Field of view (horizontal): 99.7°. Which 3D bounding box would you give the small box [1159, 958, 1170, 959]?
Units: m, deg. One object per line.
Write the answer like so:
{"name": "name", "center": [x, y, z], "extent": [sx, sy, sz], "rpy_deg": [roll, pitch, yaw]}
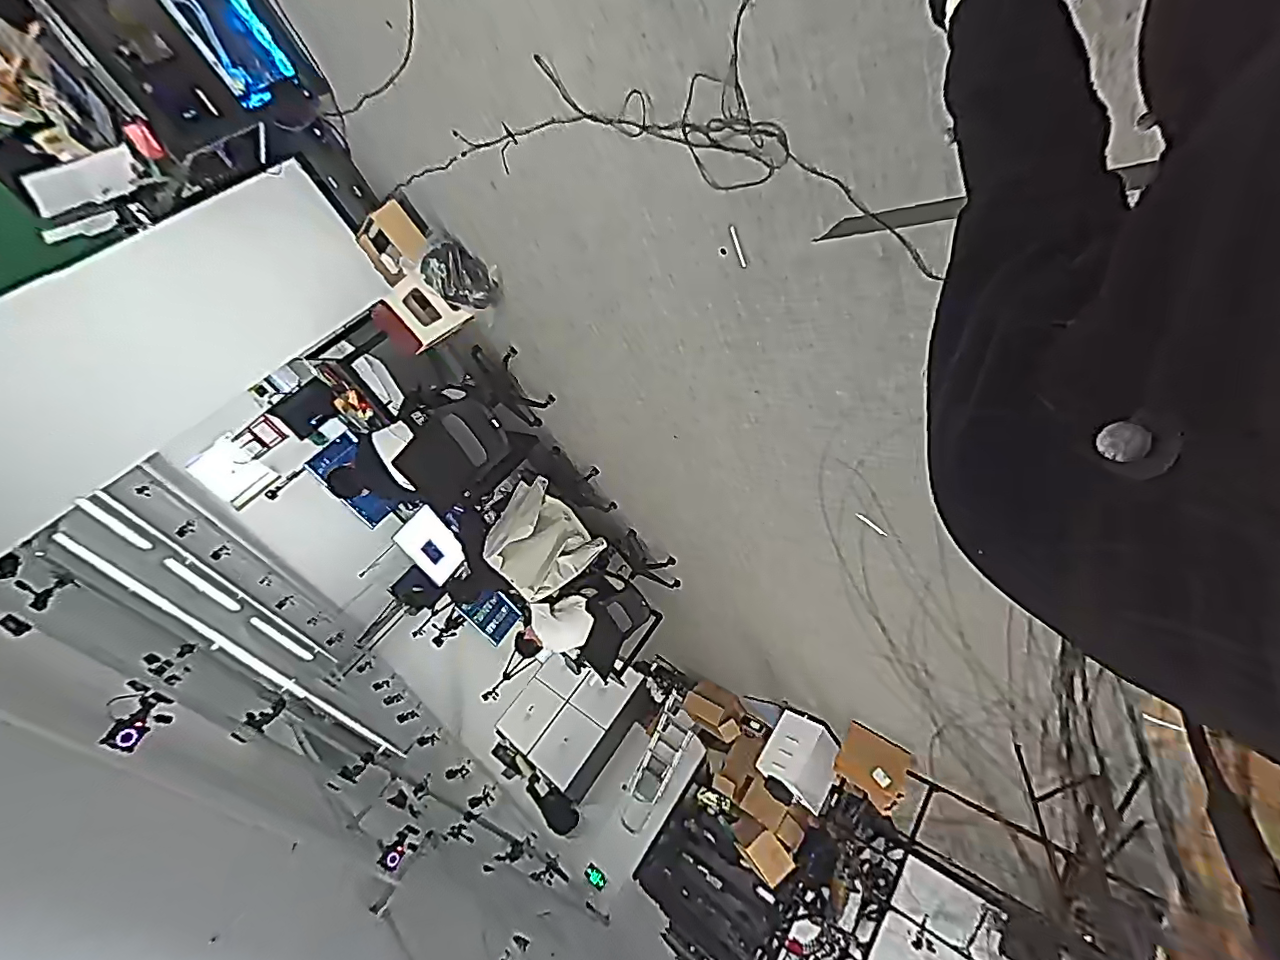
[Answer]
{"name": "small box", "center": [1.305, 1.272, 1.264], "extent": [0.168, 0.176, 0.179], "rpy_deg": [15, 145, 42]}

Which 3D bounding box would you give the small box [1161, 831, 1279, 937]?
{"name": "small box", "center": [1.498, 1.047, 1.400], "extent": [0.179, 0.176, 0.168], "rpy_deg": [15, 145, 42]}

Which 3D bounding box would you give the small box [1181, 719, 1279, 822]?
{"name": "small box", "center": [1.689, 0.819, 1.540], "extent": [0.179, 0.176, 0.168], "rpy_deg": [13, 143, 46]}

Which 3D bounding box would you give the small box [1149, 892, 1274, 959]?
{"name": "small box", "center": [1.404, 1.159, 1.332], "extent": [0.179, 0.176, 0.168], "rpy_deg": [15, 144, 42]}
